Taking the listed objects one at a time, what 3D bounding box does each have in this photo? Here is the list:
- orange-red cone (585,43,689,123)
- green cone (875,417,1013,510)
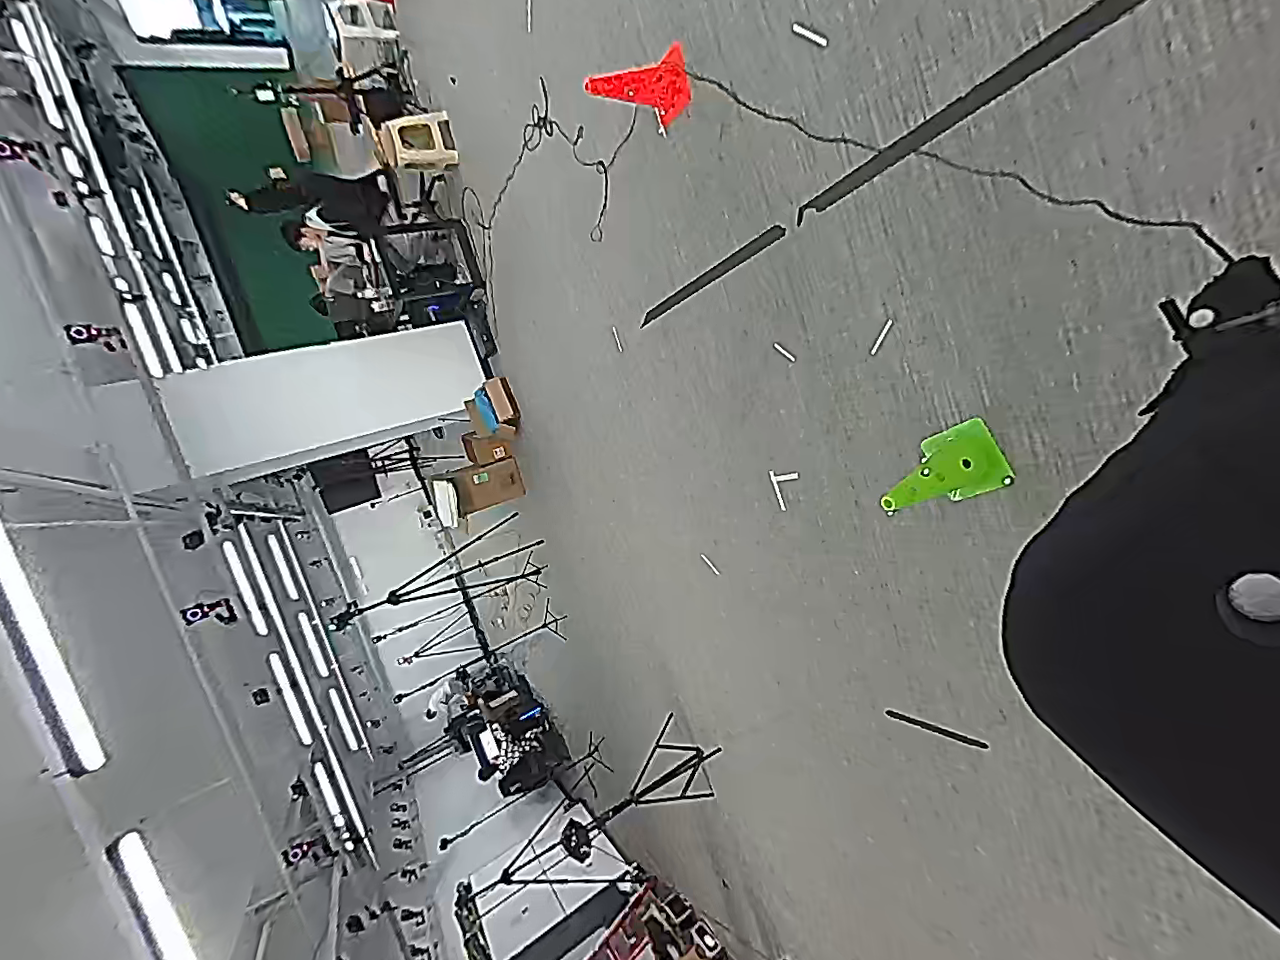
[{"bbox_3d":[-0.031,-1.413,1.926,0.199,0.360,0.198,6,115,60],"label":"orange-red cone"},{"bbox_3d":[0.763,-0.005,1.437,0.200,0.368,0.202,65,155,9],"label":"green cone"}]
